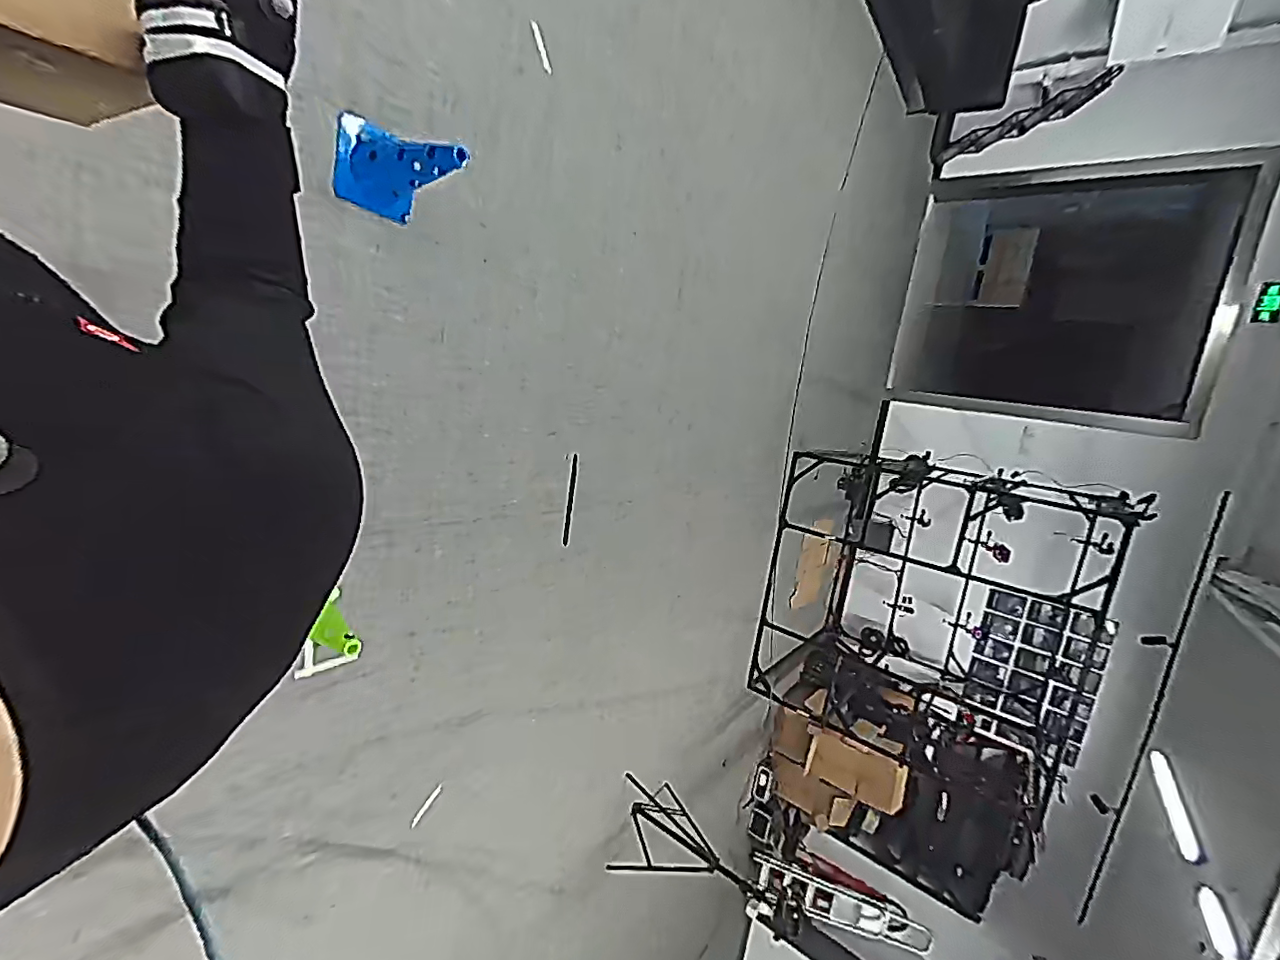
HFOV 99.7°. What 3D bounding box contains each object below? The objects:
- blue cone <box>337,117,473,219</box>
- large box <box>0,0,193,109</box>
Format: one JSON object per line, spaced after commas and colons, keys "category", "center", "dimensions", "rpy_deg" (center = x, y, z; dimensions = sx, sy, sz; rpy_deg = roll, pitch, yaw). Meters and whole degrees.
{"category": "blue cone", "center": [-0.541, -0.758, 1.294], "dimensions": [0.192, 0.380, 0.193], "rpy_deg": [2, 101, -56]}
{"category": "large box", "center": [-0.535, -0.447, 0.267], "dimensions": [0.408, 0.320, 0.320], "rpy_deg": [-13, 117, -54]}
